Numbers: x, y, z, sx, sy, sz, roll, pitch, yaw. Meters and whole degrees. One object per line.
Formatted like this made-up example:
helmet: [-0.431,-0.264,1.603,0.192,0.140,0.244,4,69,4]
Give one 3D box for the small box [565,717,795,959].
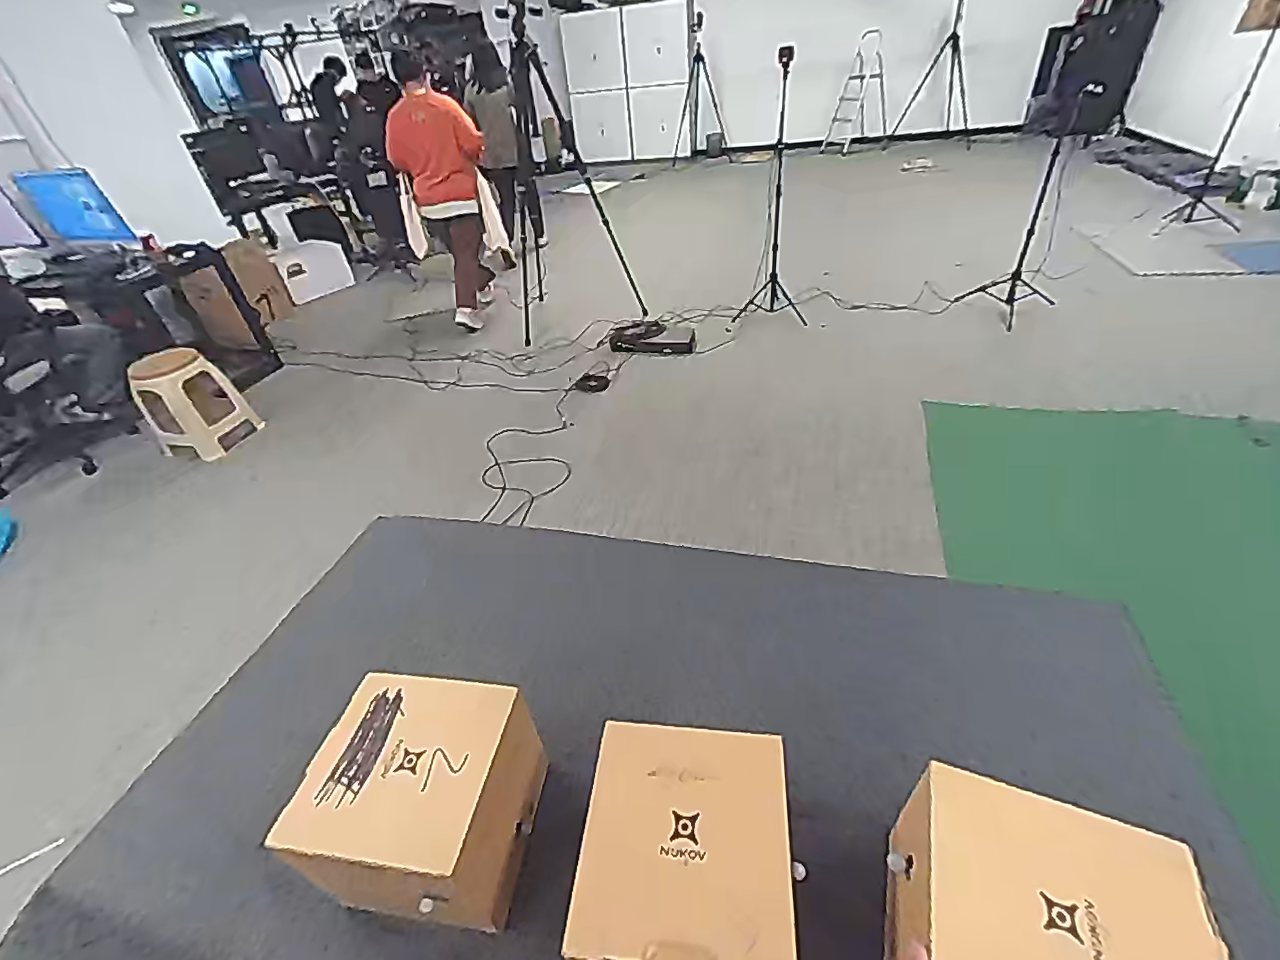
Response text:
small box: [0.044,0.344,0.484,0.168,0.176,0.179,1,38,8]
